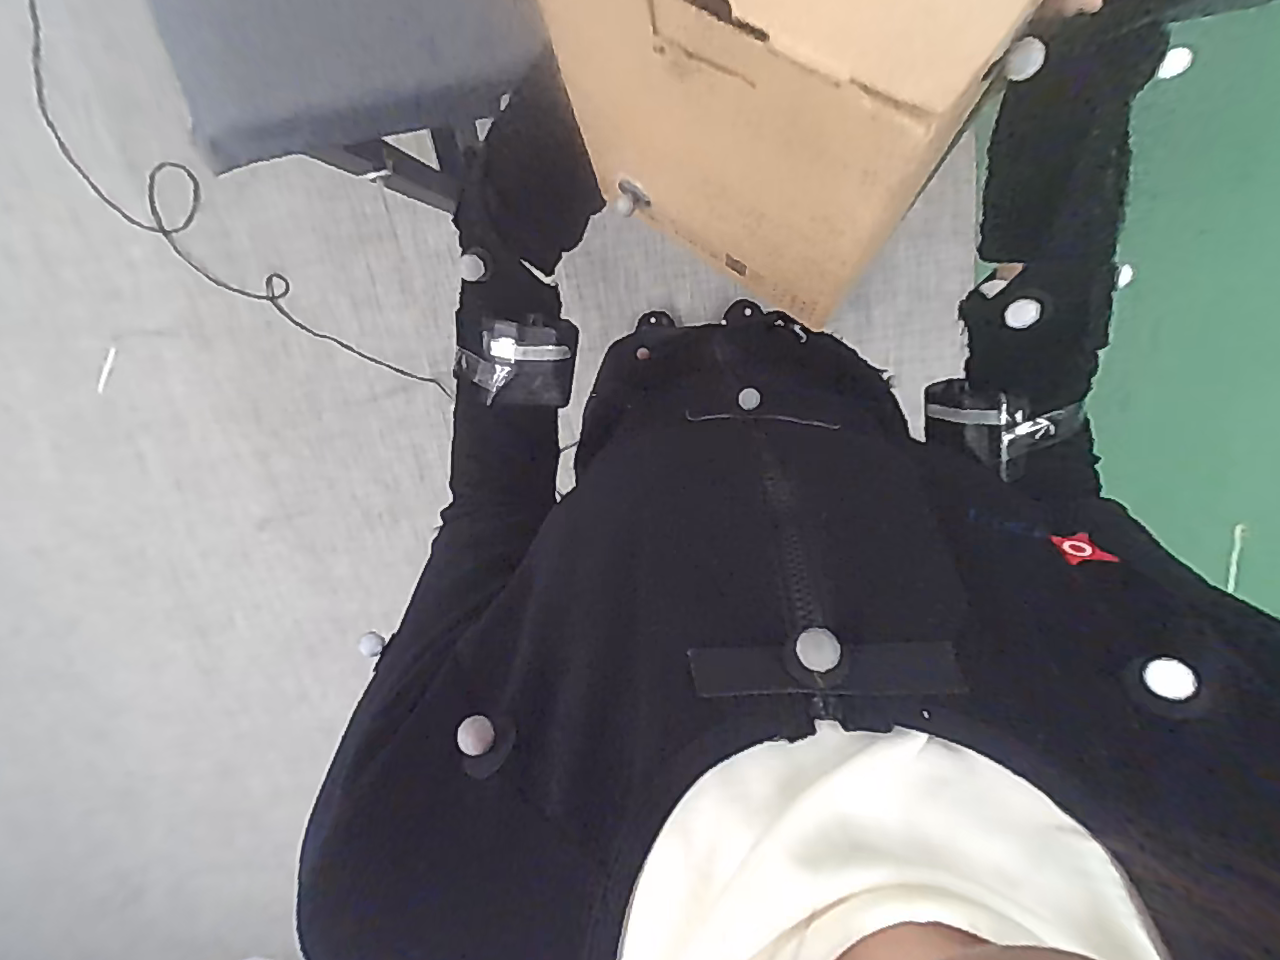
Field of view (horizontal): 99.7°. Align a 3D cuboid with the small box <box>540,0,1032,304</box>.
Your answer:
[{"bbox_3d":[0.077,-0.218,0.257,0.168,0.176,0.179,36,90,8],"label":"small box"}]
